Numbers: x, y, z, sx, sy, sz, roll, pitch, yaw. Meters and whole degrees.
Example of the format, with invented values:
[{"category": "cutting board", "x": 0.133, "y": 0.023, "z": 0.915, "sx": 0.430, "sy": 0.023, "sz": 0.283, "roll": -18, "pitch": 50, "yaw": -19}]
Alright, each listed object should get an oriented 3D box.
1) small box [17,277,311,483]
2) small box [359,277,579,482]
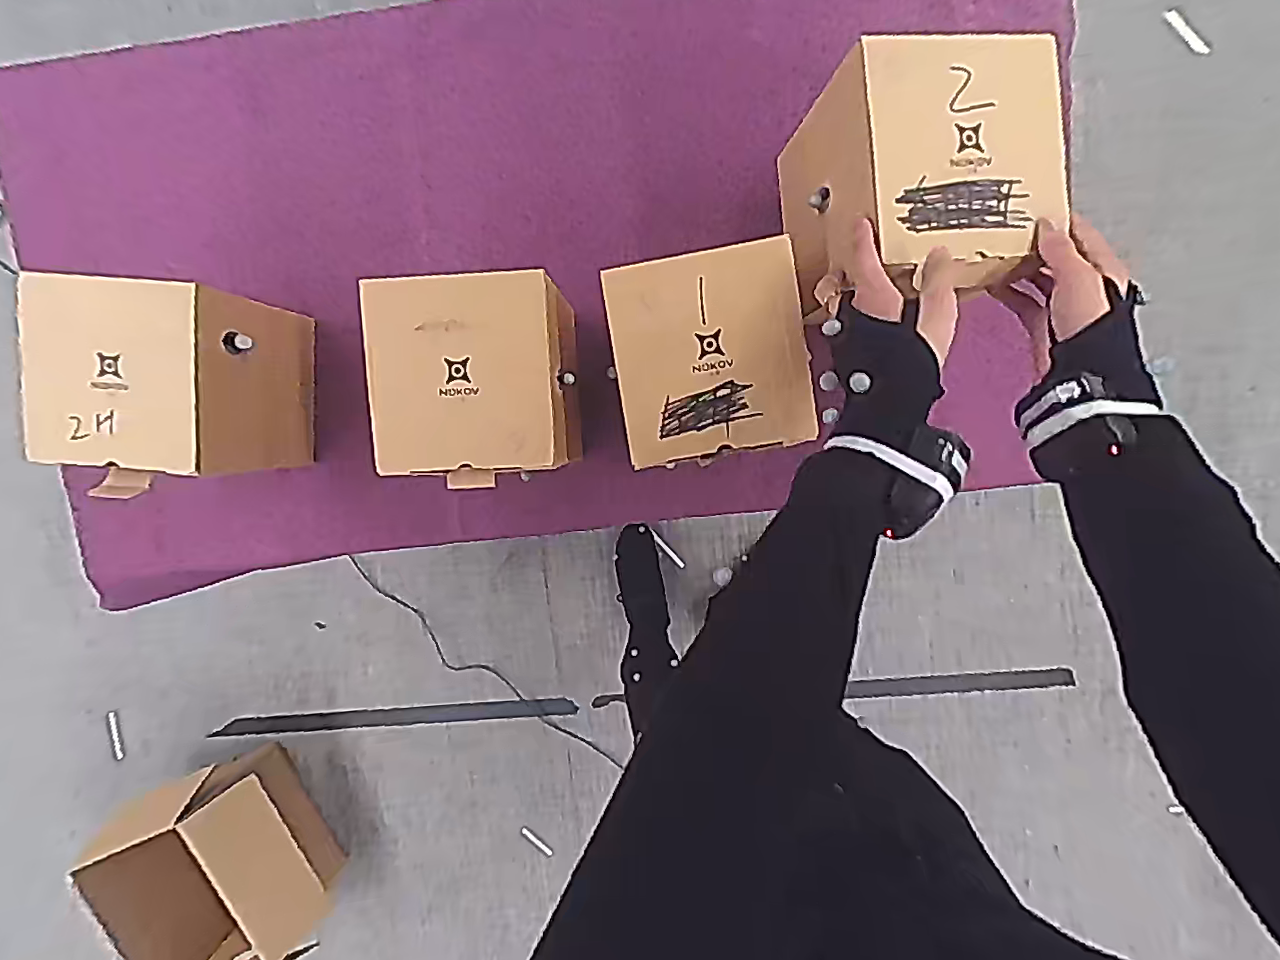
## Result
[{"category": "small box", "x": -0.476, "y": -0.097, "z": 0.567, "sx": 0.168, "sy": 0.176, "sz": 0.179, "roll": 4, "pitch": 96, "yaw": 2}, {"category": "small box", "x": -0.158, "y": -0.095, "z": 0.557, "sx": 0.168, "sy": 0.176, "sz": 0.179, "roll": -2, "pitch": 95, "yaw": 2}]
